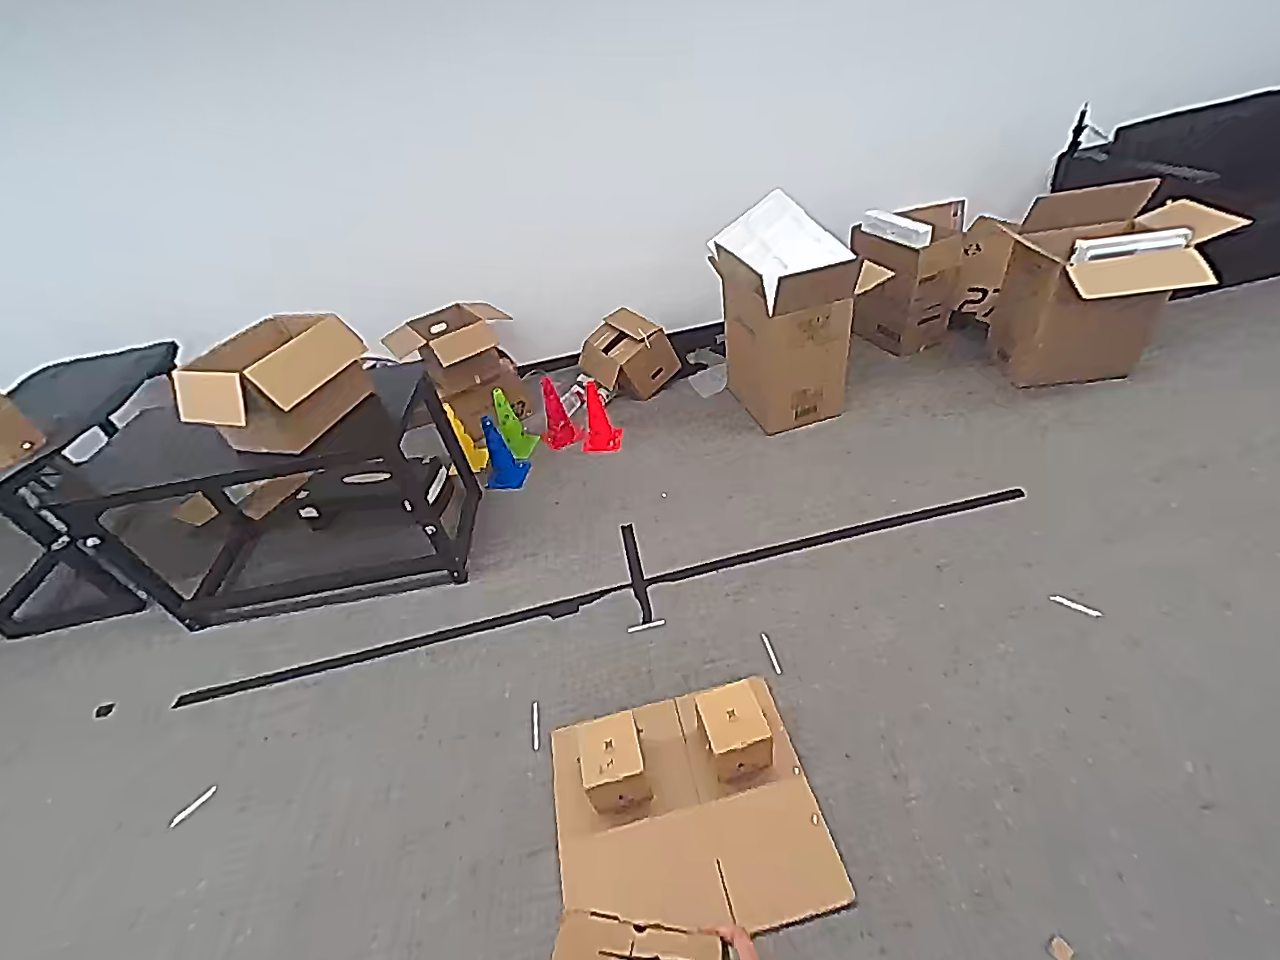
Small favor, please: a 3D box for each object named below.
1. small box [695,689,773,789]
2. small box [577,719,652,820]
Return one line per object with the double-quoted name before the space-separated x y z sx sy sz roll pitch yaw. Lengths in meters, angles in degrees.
"small box" 0.264 0.731 1.529 0.168 0.176 0.179 -16 39 -6
"small box" -0.072 0.805 1.504 0.168 0.176 0.179 -15 39 -3
